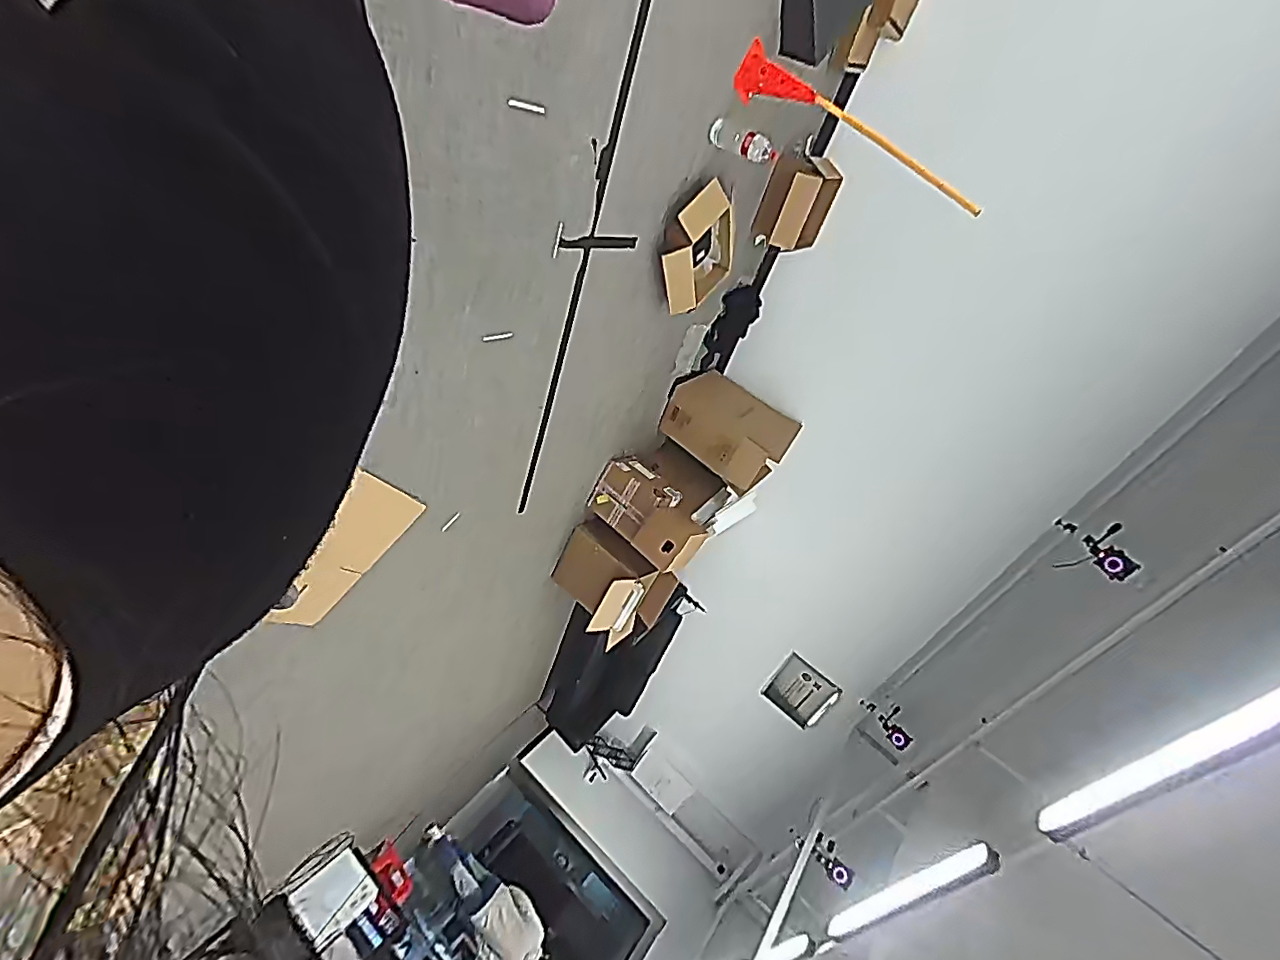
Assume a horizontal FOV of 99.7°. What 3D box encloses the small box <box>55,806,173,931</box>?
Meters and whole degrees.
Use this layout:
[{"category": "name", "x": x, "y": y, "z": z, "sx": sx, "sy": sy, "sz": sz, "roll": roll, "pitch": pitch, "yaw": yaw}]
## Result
[{"category": "small box", "x": -1.376, "y": 1.010, "z": 1.415, "sx": 0.179, "sy": 0.176, "sz": 0.168, "roll": -29, "pitch": 151, "yaw": -51}]
